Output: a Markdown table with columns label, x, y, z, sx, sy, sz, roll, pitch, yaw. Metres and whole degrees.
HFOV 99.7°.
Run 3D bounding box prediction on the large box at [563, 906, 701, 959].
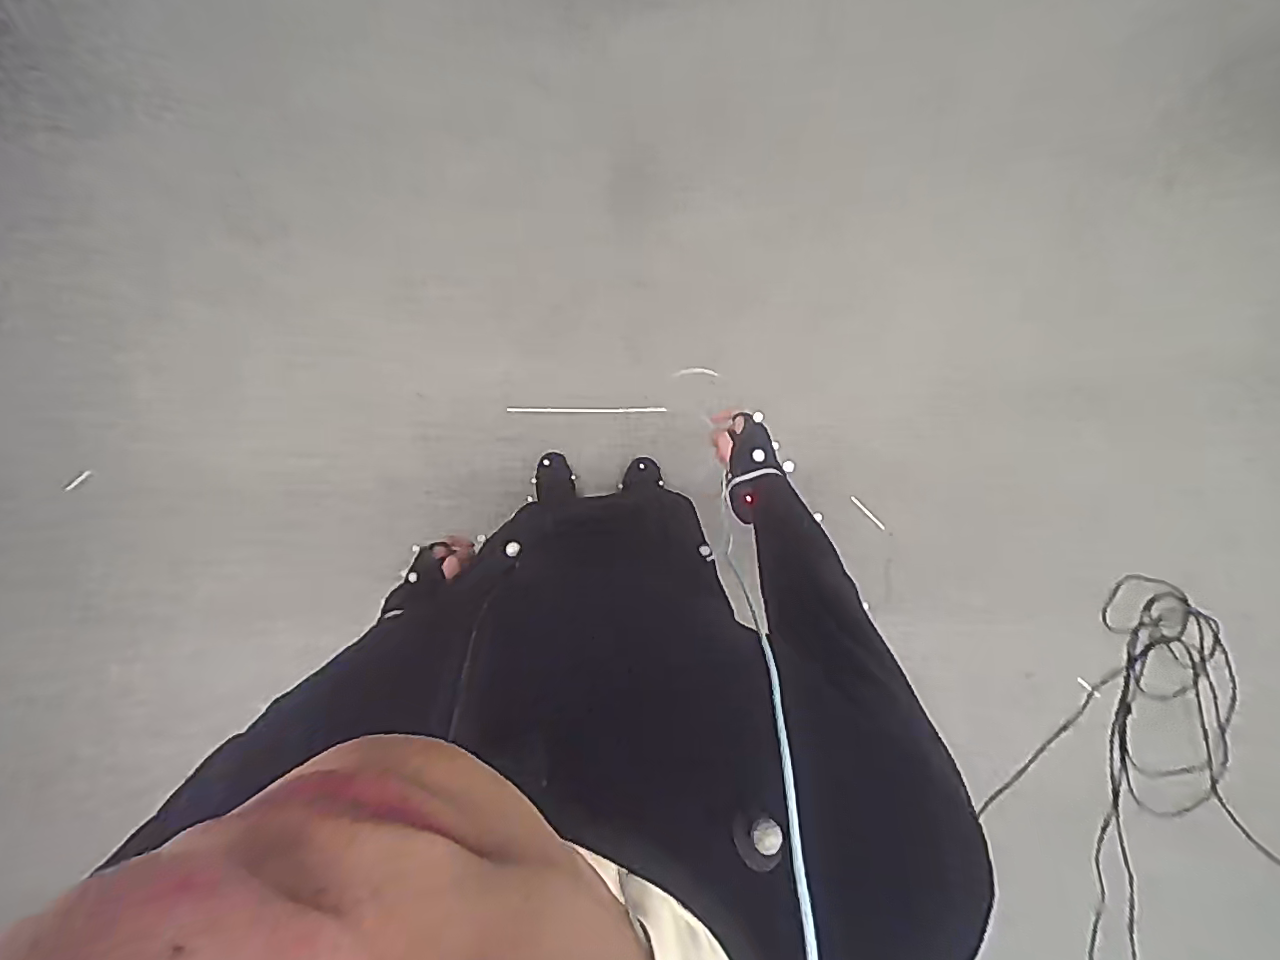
| label | x | y | z | sx | sy | sz | roll | pitch | yaw |
| --- | --- | --- | --- | --- | --- | --- | --- | --- | --- |
| large box | -0.016 | 1.511 | 1.571 | 0.408 | 0.320 | 0.320 | -2 | 92 | 1 |
